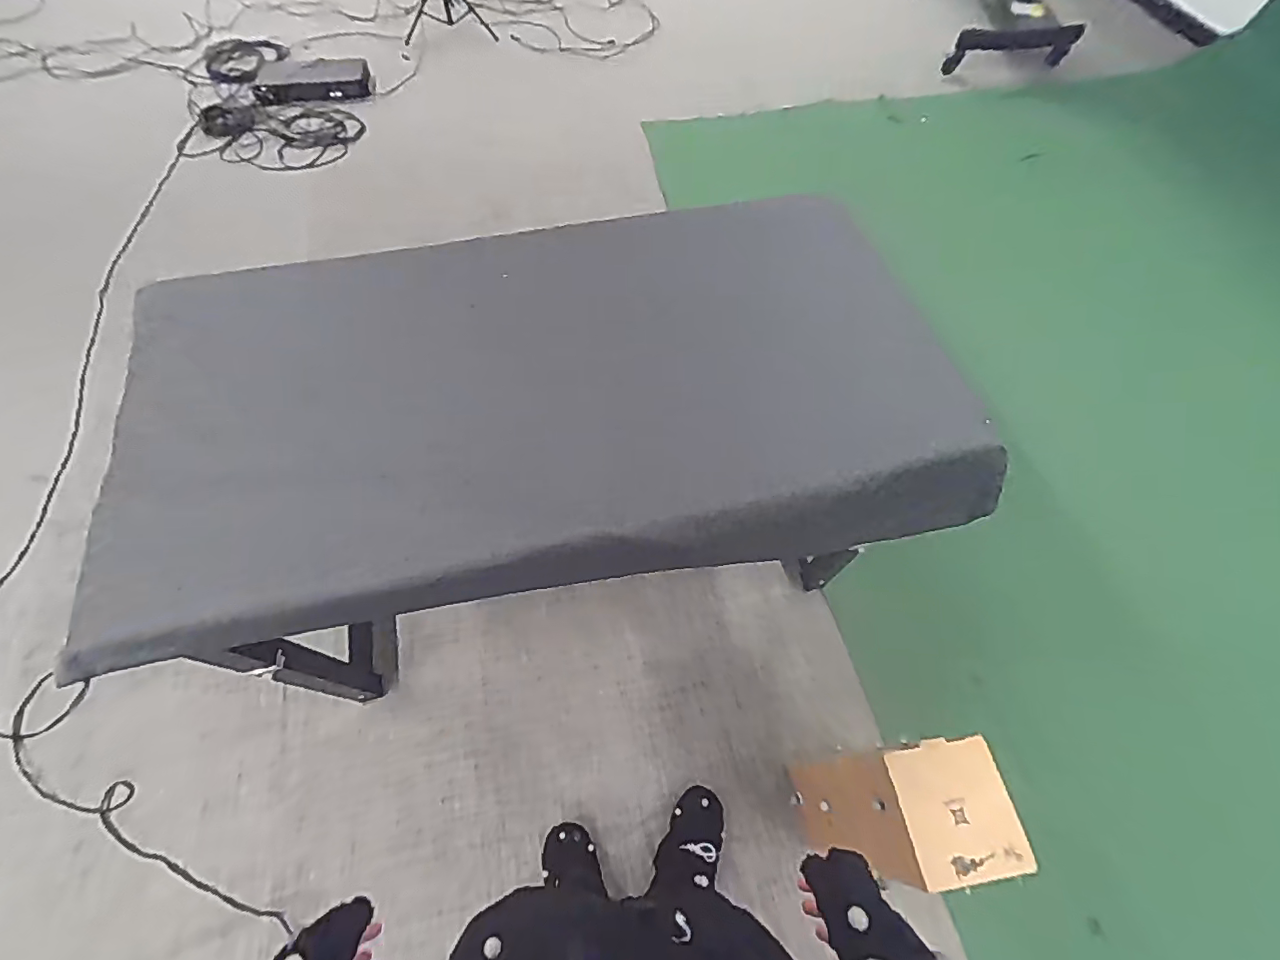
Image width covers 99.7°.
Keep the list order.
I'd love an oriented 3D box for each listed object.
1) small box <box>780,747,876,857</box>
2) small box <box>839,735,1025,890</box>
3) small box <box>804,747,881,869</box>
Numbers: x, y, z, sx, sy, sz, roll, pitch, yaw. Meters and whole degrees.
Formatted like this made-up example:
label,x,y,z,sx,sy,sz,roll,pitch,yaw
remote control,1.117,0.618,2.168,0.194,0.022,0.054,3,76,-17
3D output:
label,x,y,z,sx,sy,sz,roll,pitch,yaw
small box,0.417,0.668,1.137,0.179,0.176,0.168,-9,62,-6
small box,0.438,0.515,0.849,0.168,0.176,0.179,-6,60,-5
small box,0.427,0.590,0.992,0.179,0.176,0.168,-7,61,-5
